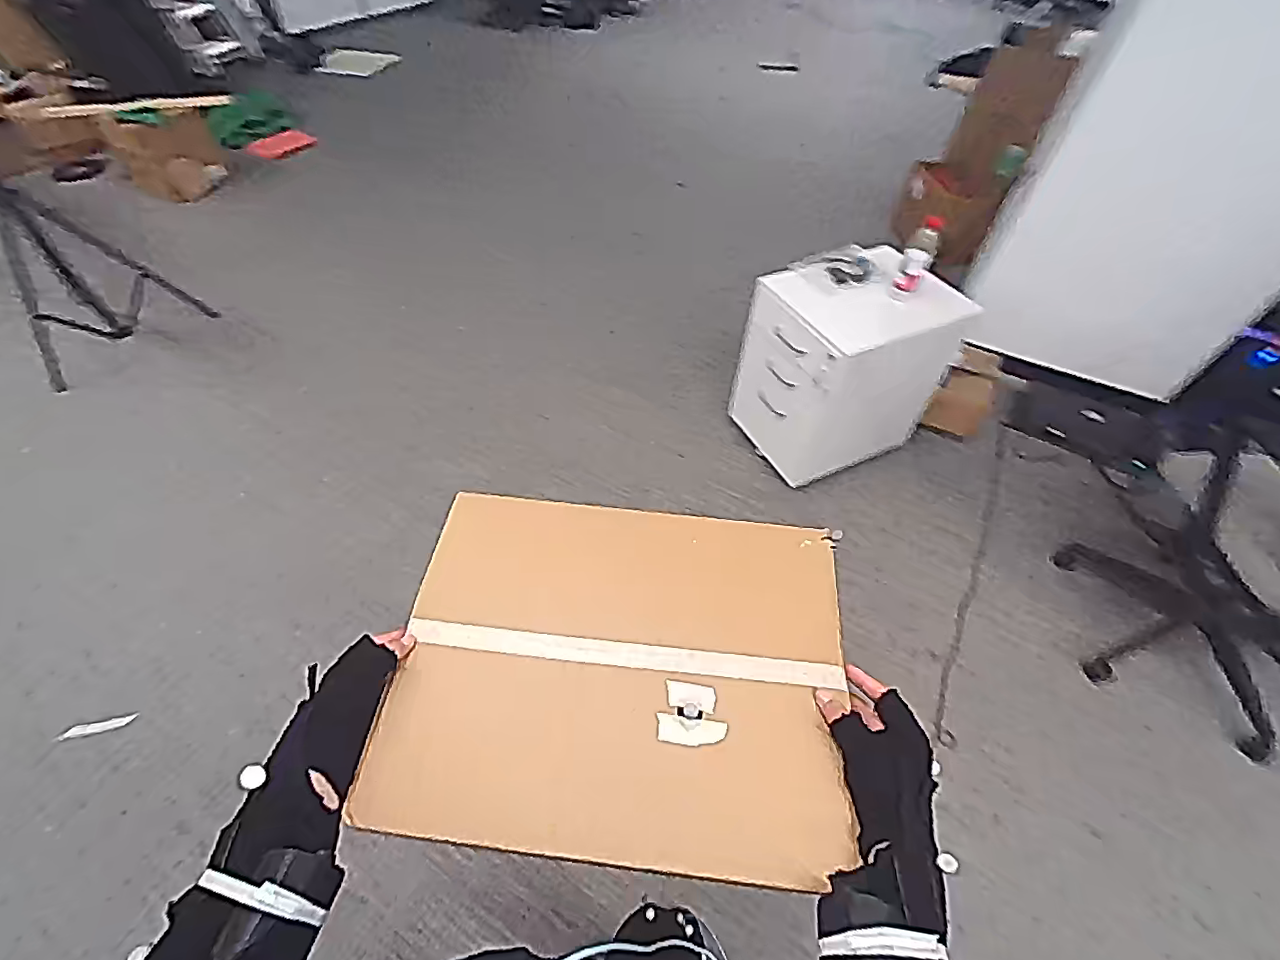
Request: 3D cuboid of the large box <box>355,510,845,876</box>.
[{"bbox_3d":[-0.027,0.256,0.635,0.408,0.320,0.320,5,56,2],"label":"large box"}]
